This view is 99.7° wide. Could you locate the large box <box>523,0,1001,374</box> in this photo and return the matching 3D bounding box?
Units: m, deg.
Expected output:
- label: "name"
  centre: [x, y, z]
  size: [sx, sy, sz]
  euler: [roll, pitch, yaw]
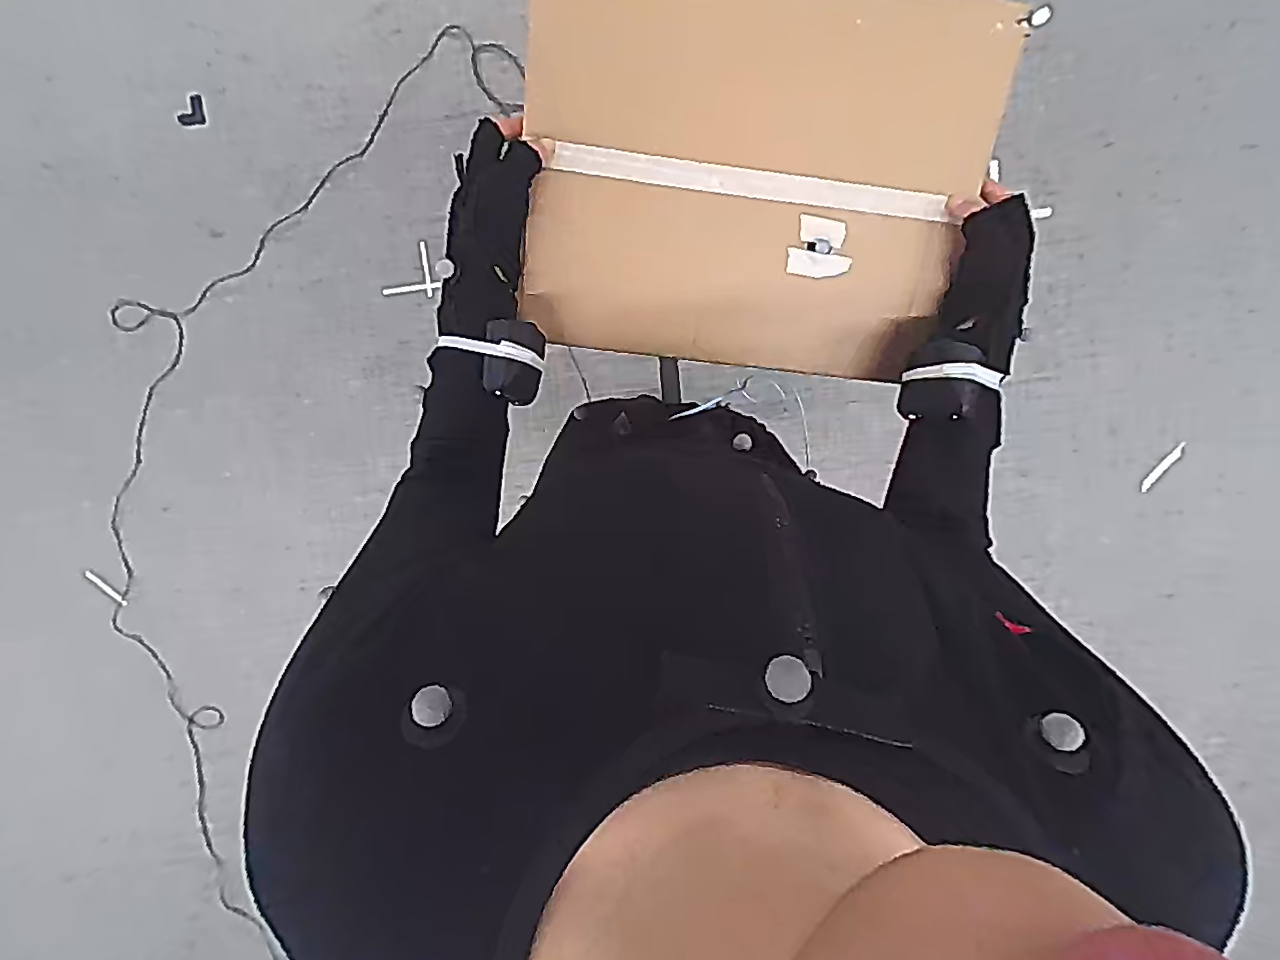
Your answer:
- label: "large box"
  centre: [0.086, -0.313, 0.628]
  size: [0.408, 0.320, 0.320]
  euler: [5, 110, -5]
